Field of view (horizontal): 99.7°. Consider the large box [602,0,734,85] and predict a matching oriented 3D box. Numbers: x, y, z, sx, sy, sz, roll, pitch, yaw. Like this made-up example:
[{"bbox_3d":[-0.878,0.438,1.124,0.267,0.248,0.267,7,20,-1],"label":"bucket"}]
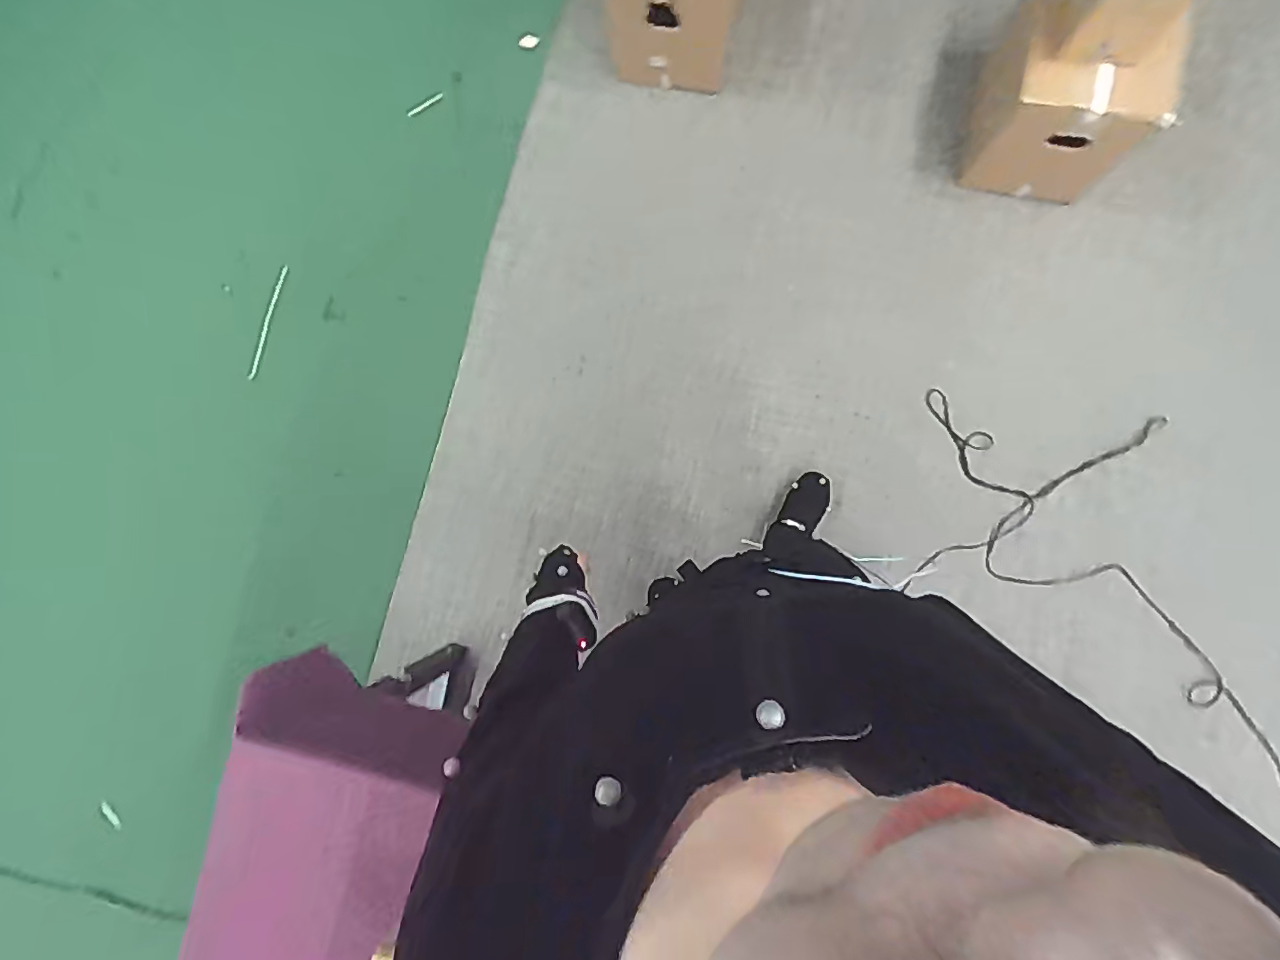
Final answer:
[{"bbox_3d":[0.097,-1.383,1.465,0.320,0.320,0.408,13,87,7],"label":"large box"}]
